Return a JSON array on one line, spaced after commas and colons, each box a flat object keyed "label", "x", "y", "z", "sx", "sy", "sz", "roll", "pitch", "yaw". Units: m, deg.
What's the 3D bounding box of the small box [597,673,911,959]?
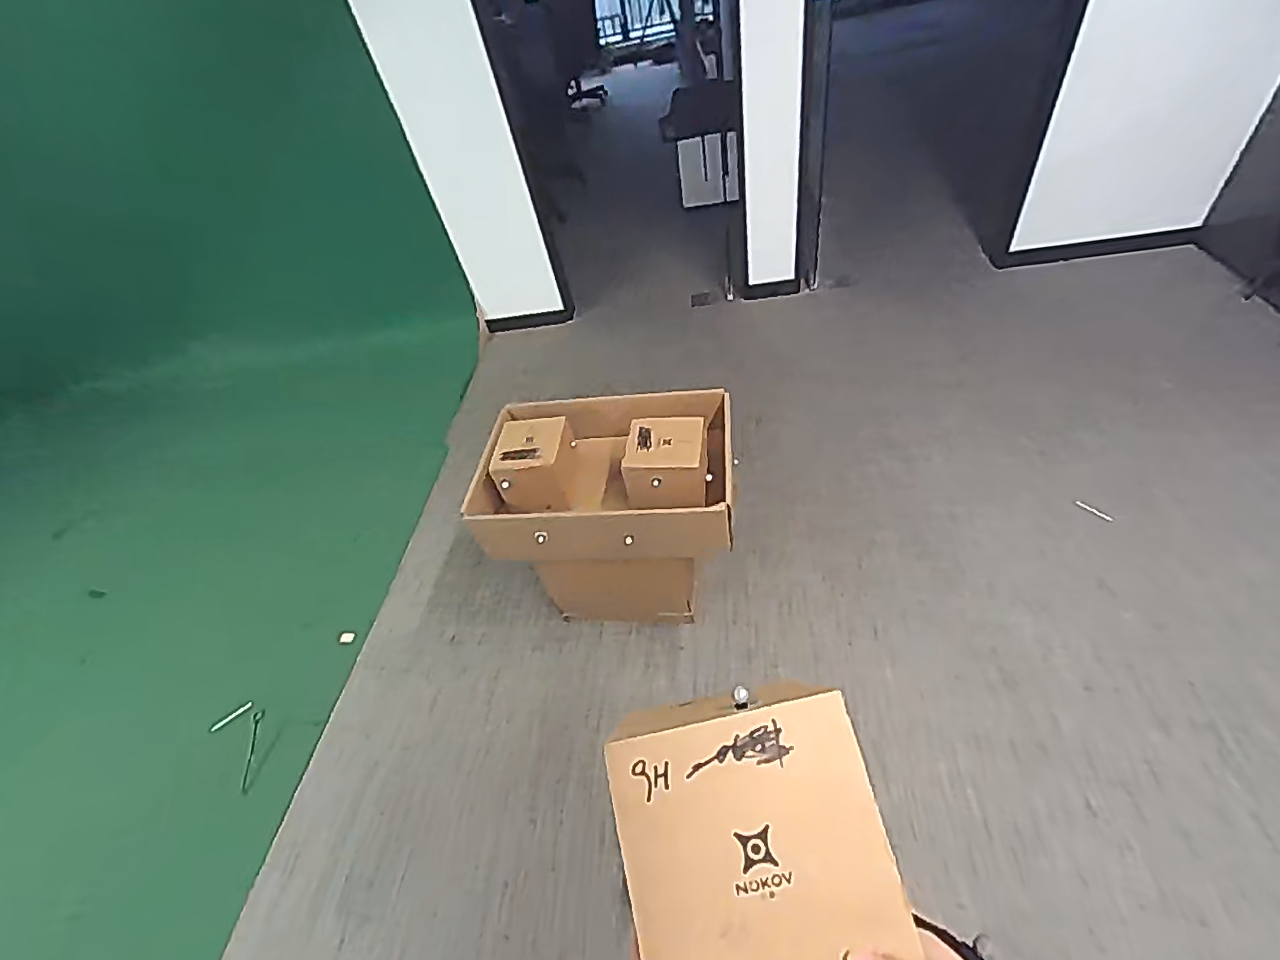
[{"label": "small box", "x": 0.073, "y": 0.259, "z": 0.417, "sx": 0.168, "sy": 0.176, "sz": 0.179, "roll": -13, "pitch": 72, "yaw": -1}]
